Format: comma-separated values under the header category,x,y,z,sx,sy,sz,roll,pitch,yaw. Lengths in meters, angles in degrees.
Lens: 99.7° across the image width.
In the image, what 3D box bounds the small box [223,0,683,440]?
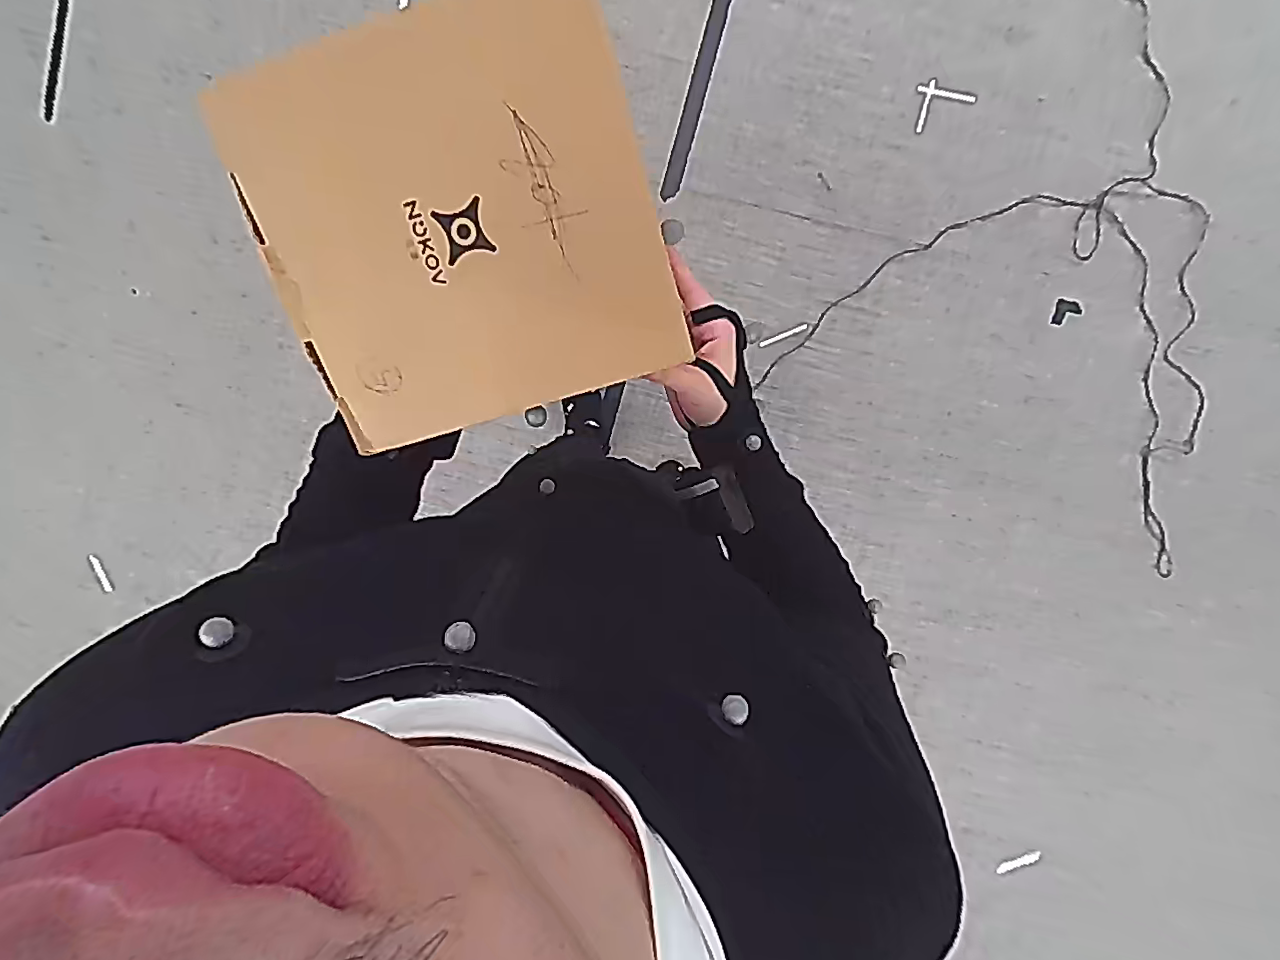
category,x,y,z,sx,sy,sz,roll,pitch,yaw
small box,-0.078,-0.139,0.327,0.179,0.176,0.168,-15,107,7
